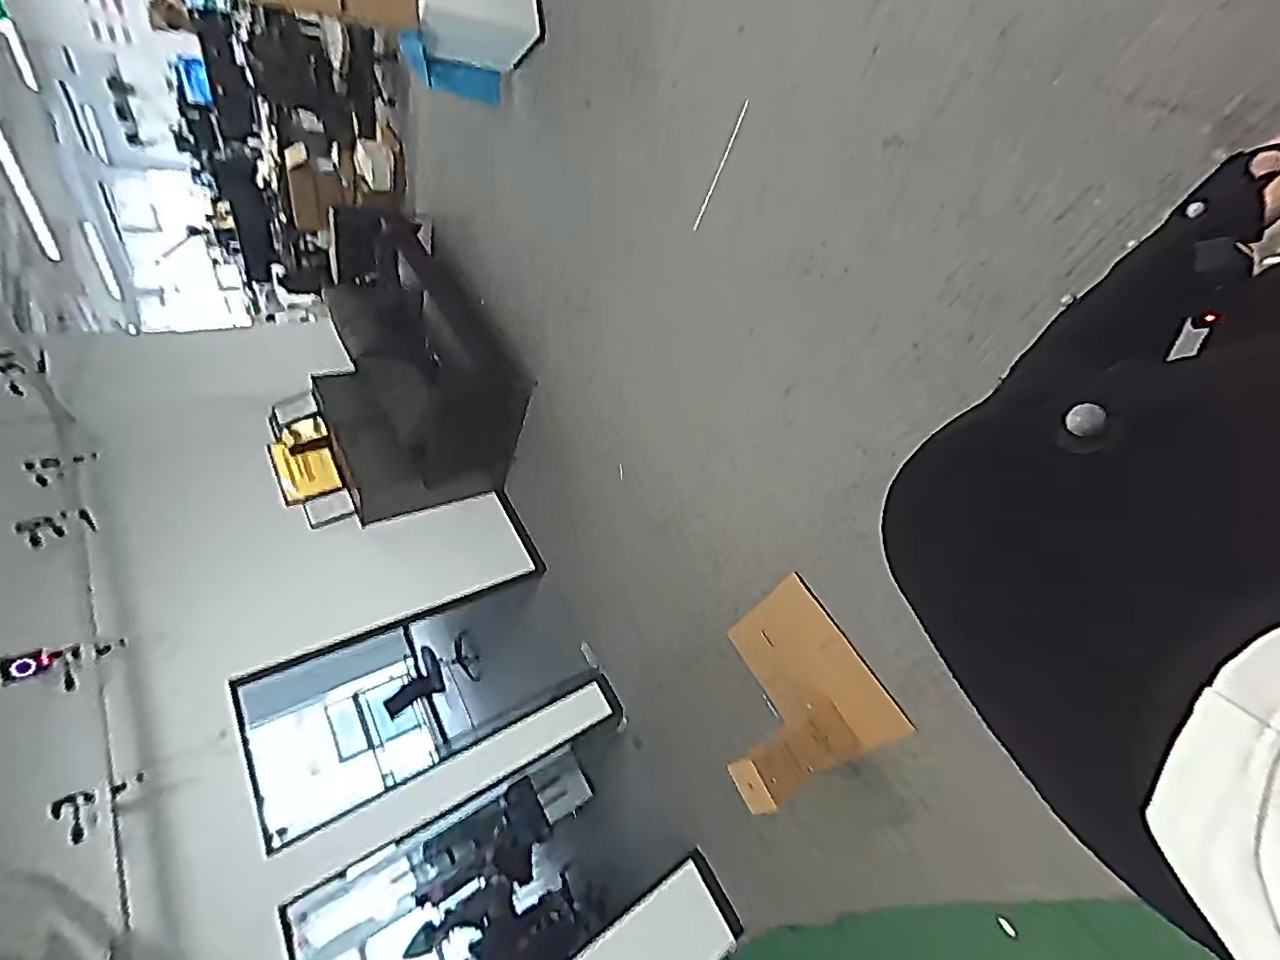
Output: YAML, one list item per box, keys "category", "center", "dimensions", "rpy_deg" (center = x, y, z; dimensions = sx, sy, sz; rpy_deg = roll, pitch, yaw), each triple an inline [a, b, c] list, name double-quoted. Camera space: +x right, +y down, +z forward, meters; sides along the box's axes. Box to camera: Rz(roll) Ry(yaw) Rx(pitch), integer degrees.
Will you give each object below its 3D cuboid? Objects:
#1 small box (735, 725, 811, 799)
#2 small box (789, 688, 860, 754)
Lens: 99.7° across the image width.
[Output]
- category: "small box"
  center: [0.493, 1.038, 1.990]
  dimensions: [0.179, 0.176, 0.168]
  rpy_deg: [61, 143, 19]
- category: "small box"
  center: [0.749, 0.973, 2.184]
  dimensions: [0.179, 0.176, 0.168]
  rpy_deg: [59, 143, 21]
